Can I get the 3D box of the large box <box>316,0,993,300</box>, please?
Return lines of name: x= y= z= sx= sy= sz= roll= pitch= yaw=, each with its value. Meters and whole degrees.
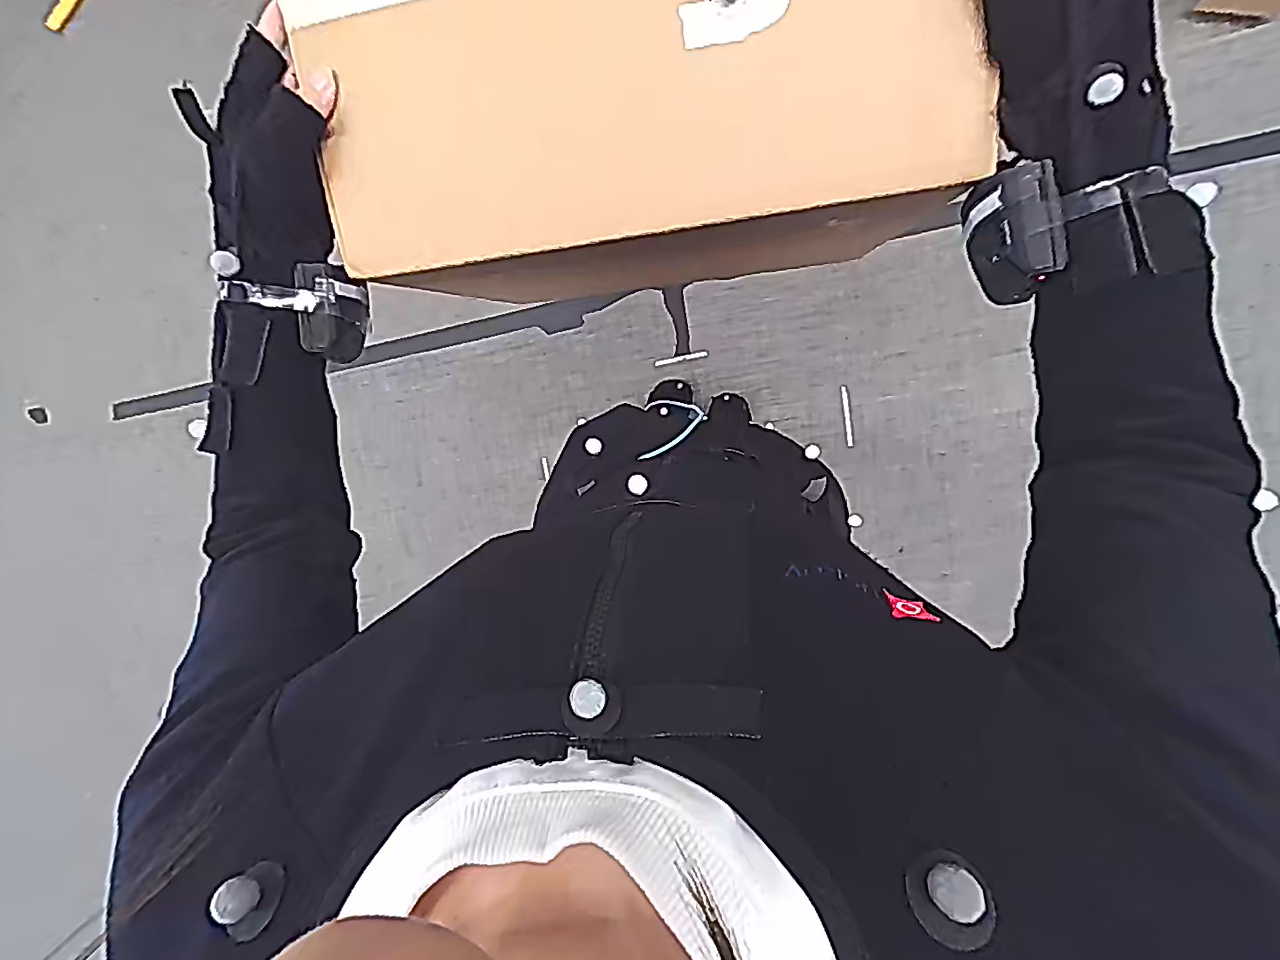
large box: x=0.008 y=-0.349 z=0.453 sx=0.408 sy=0.320 sz=0.320 roll=-5 pitch=104 yaw=10
